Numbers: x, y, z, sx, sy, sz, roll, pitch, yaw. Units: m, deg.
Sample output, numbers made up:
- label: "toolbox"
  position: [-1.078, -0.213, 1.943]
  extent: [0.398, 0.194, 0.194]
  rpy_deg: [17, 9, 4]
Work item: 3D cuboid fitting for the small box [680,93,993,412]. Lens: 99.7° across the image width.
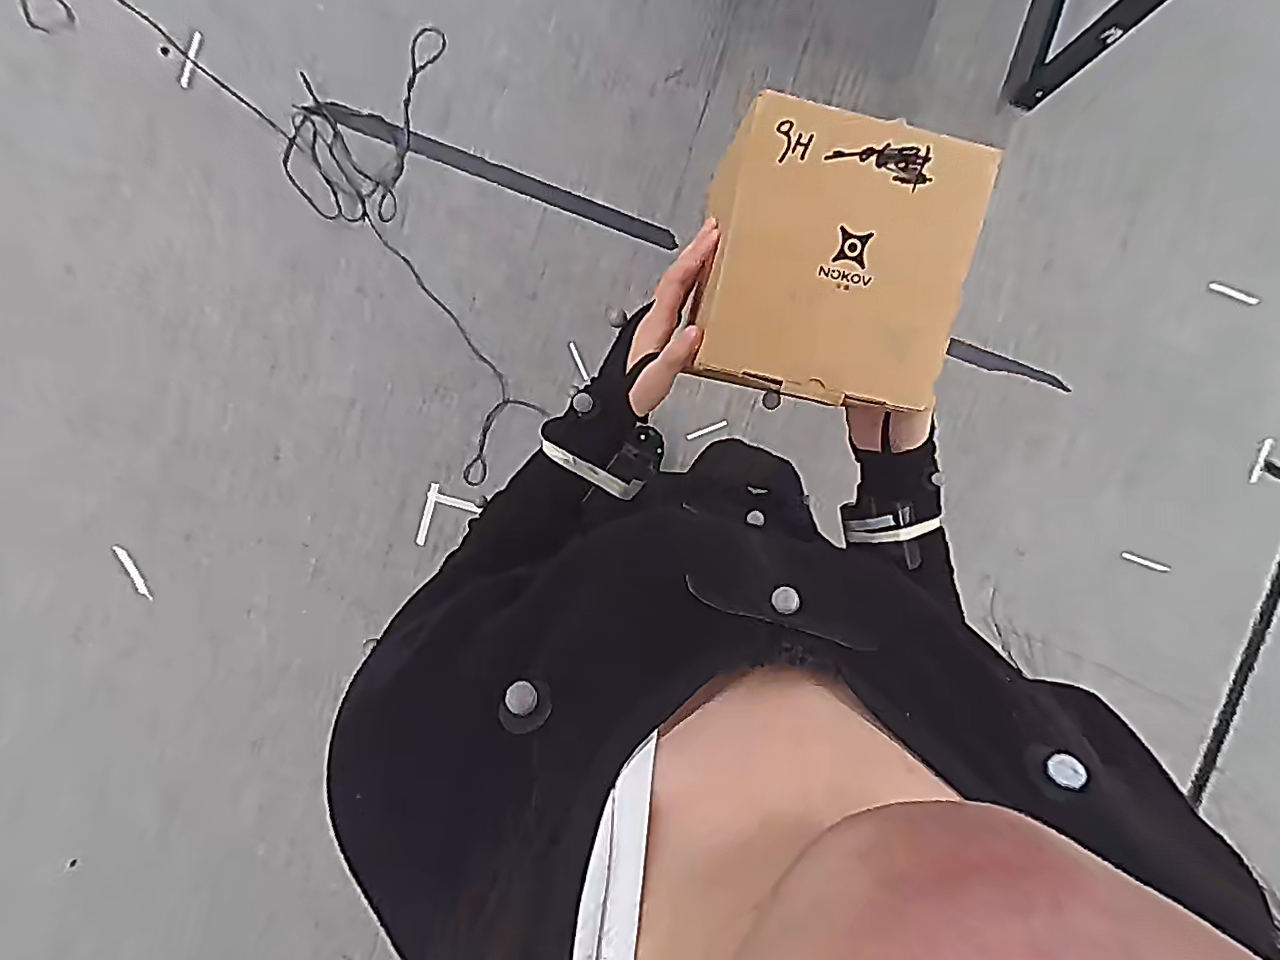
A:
- label: "small box"
  position: [0.133, -0.163, 0.443]
  extent: [0.168, 0.176, 0.179]
  rpy_deg: [11, 100, -5]
